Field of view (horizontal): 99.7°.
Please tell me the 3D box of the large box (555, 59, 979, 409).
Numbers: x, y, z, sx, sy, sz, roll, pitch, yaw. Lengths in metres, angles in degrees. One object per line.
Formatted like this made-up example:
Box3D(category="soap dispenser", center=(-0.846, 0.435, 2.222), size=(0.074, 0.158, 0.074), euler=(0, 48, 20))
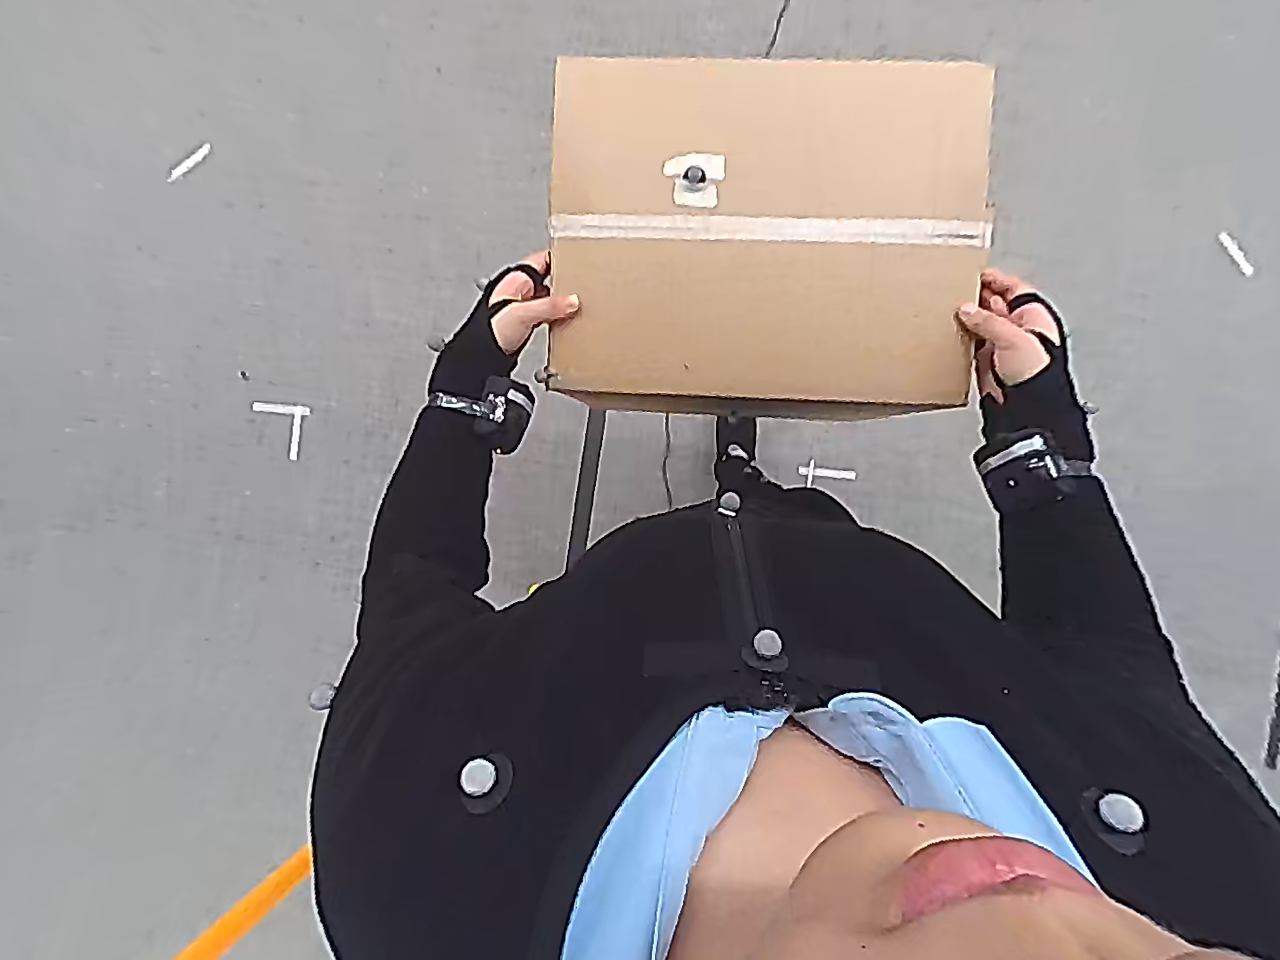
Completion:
Box3D(category="large box", center=(0.128, -0.252, 0.672), size=(0.408, 0.320, 0.320), euler=(2, 92, 4))
